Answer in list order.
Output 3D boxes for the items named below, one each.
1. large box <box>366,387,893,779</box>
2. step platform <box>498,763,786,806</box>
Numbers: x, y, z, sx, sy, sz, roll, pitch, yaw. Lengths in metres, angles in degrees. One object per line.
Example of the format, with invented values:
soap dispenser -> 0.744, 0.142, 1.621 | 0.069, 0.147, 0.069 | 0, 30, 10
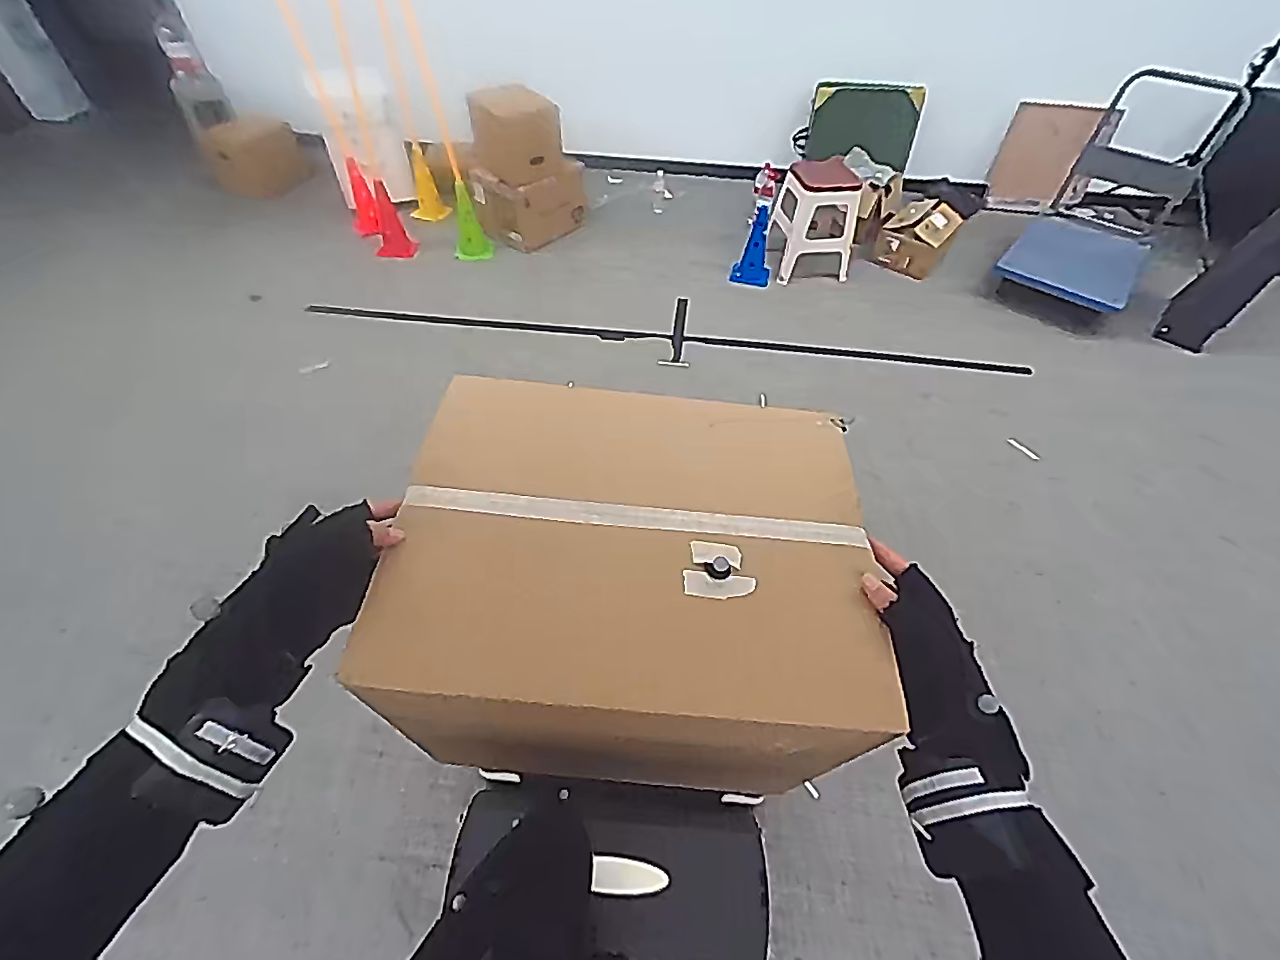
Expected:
large box -> -0.011, 0.128, 0.606 | 0.408, 0.320, 0.320 | 6, 53, -2
step platform -> 0.007, 0.597, 1.323 | 0.684, 0.204, 0.286 | 5, 50, 1
